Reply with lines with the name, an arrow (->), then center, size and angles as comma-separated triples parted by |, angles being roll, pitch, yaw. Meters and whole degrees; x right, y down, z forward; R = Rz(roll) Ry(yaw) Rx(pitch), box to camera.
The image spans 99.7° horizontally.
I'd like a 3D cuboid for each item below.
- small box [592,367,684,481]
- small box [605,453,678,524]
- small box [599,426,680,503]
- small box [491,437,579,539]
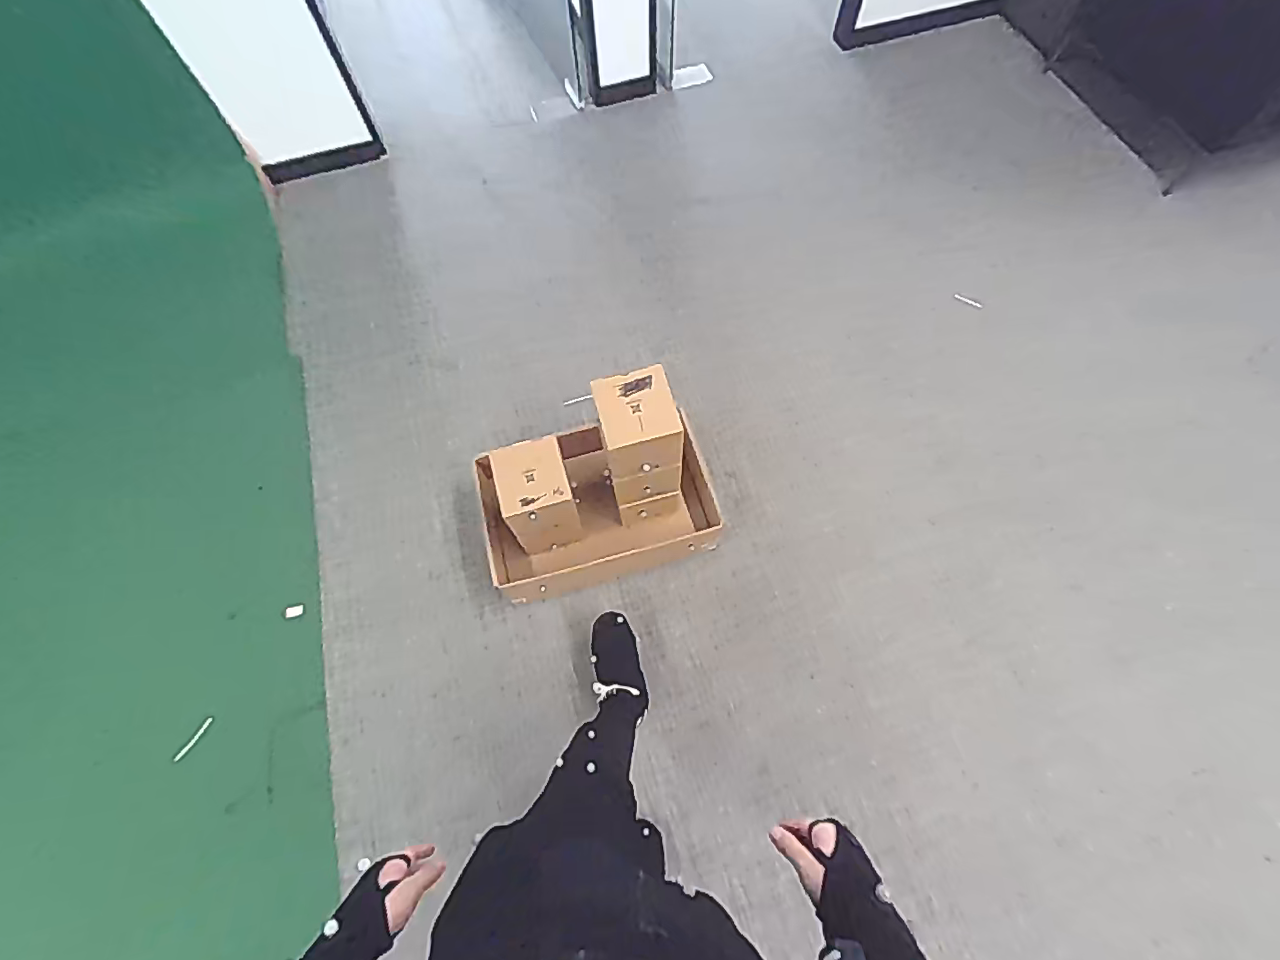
small box -> -0.005, -0.122, 1.222 | 0.168, 0.176, 0.179 | -15, 68, -3
small box -> 0.007, 0.013, 1.522 | 0.168, 0.176, 0.179 | -14, 67, -4
small box -> 0.001, -0.054, 1.372 | 0.168, 0.176, 0.179 | -14, 67, -4
small box -> -0.256, 0.024, 1.341 | 0.168, 0.176, 0.179 | -16, 67, -5
